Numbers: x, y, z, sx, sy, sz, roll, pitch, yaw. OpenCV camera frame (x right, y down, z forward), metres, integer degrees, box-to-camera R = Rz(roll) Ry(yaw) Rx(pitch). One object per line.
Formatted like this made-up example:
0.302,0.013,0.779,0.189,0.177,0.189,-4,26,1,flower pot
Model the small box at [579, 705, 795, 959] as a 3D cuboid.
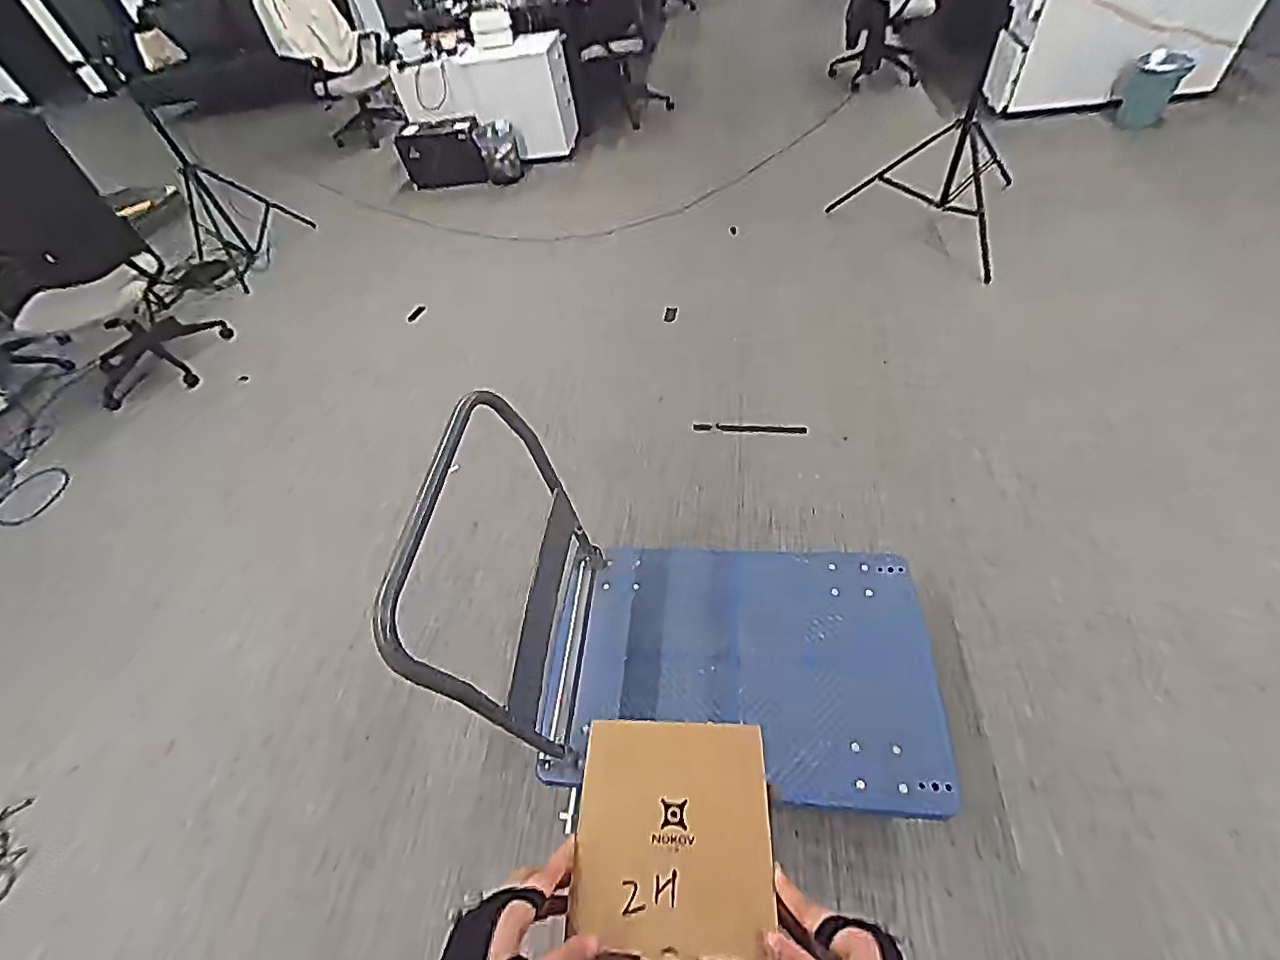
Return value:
0.046,0.339,0.519,0.168,0.176,0.179,-1,47,6,small box
